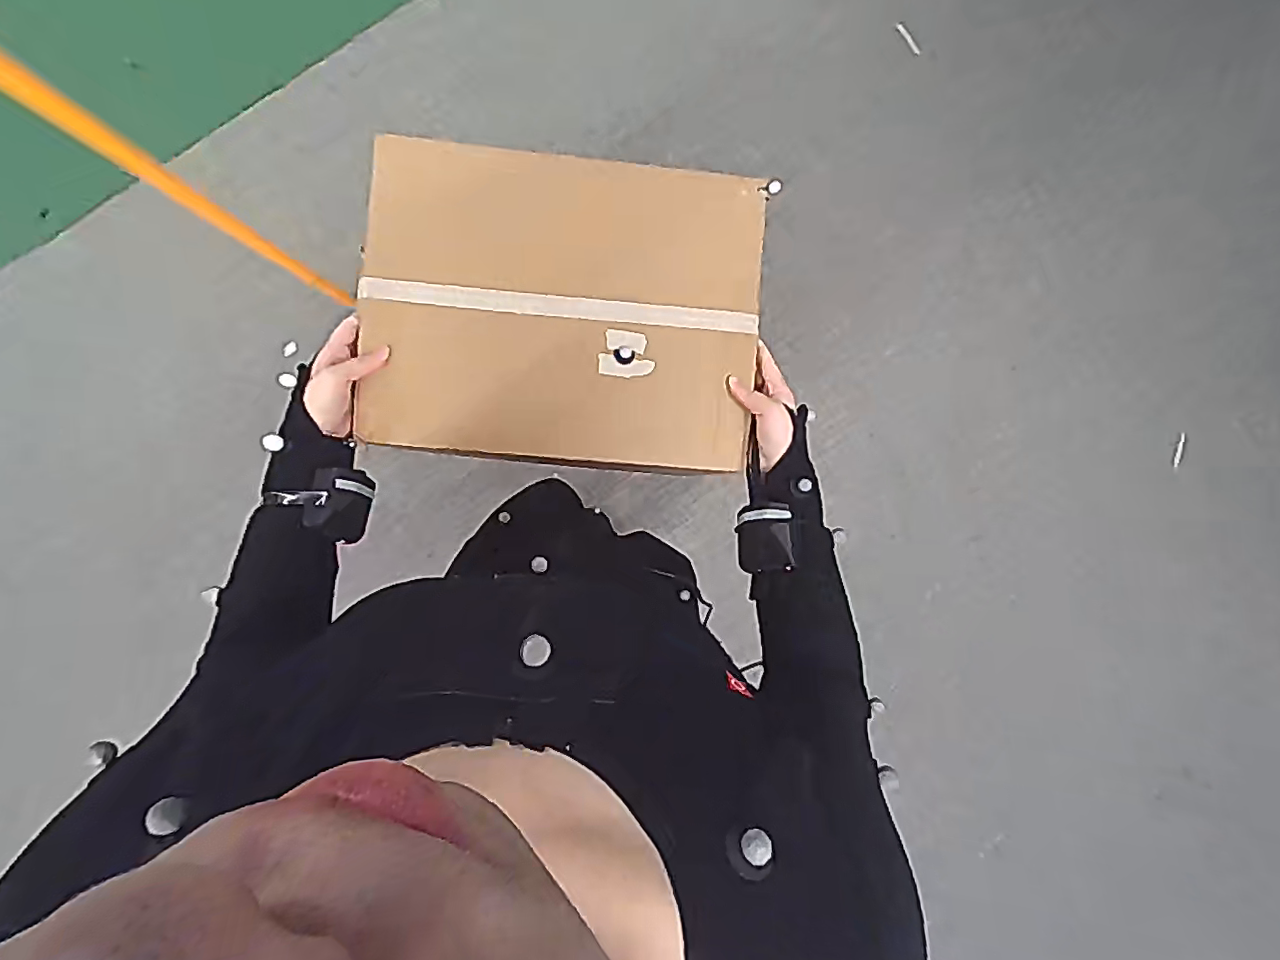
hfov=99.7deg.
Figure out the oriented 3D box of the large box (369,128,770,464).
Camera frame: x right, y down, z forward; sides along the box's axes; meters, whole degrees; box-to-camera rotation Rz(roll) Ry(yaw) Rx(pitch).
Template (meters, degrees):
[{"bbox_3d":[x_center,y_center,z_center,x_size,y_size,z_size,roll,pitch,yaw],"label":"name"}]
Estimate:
[{"bbox_3d":[-0.082,-0.192,0.711,0.408,0.320,0.320,5,91,-5],"label":"large box"}]
